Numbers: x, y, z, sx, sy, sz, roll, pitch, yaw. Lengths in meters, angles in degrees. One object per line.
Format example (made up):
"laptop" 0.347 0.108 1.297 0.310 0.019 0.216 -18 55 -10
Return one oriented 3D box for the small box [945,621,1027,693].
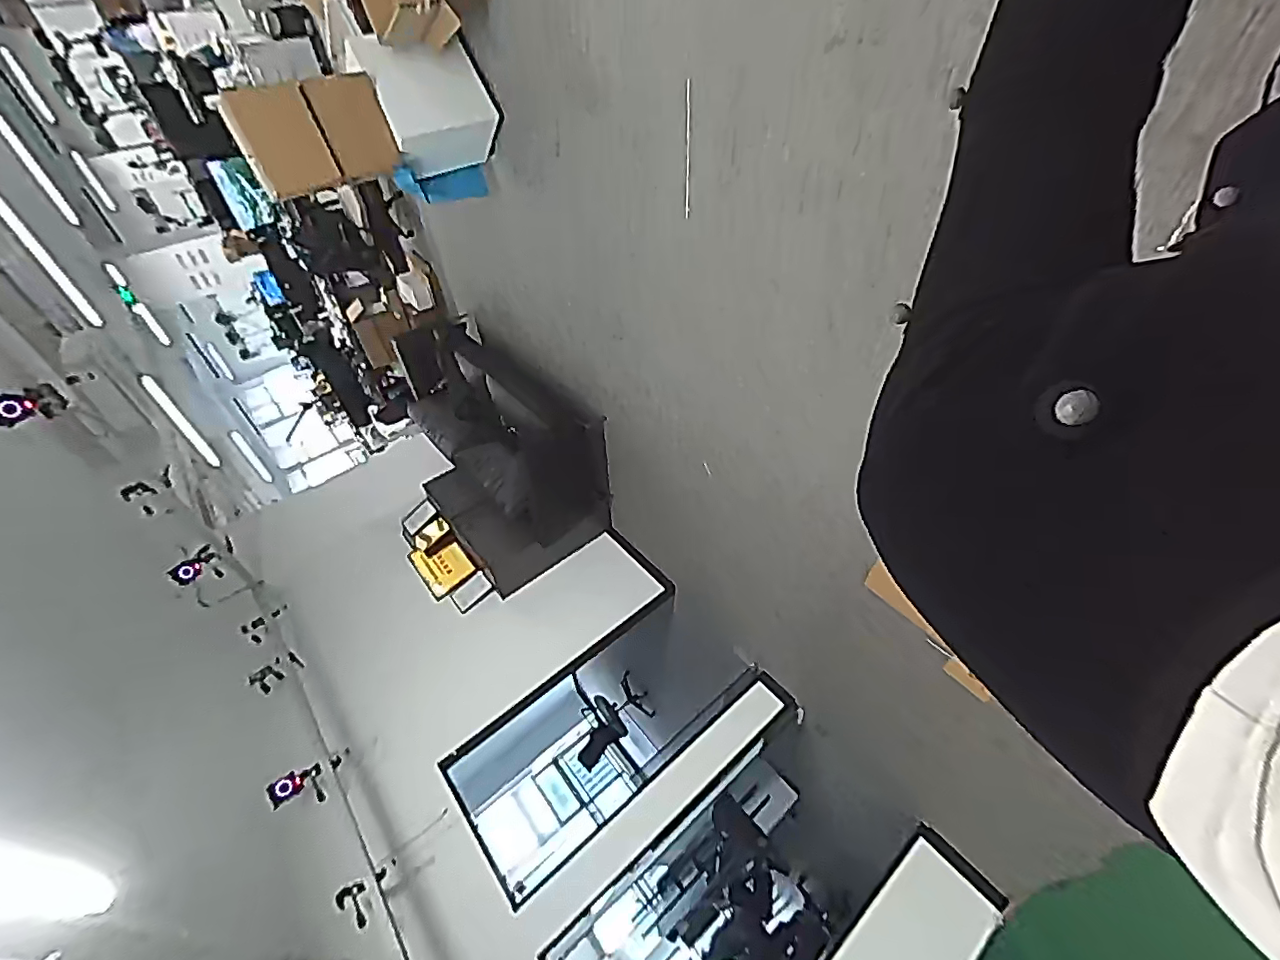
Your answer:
"small box" 1.308 0.661 2.045 0.179 0.176 0.168 41 151 31
